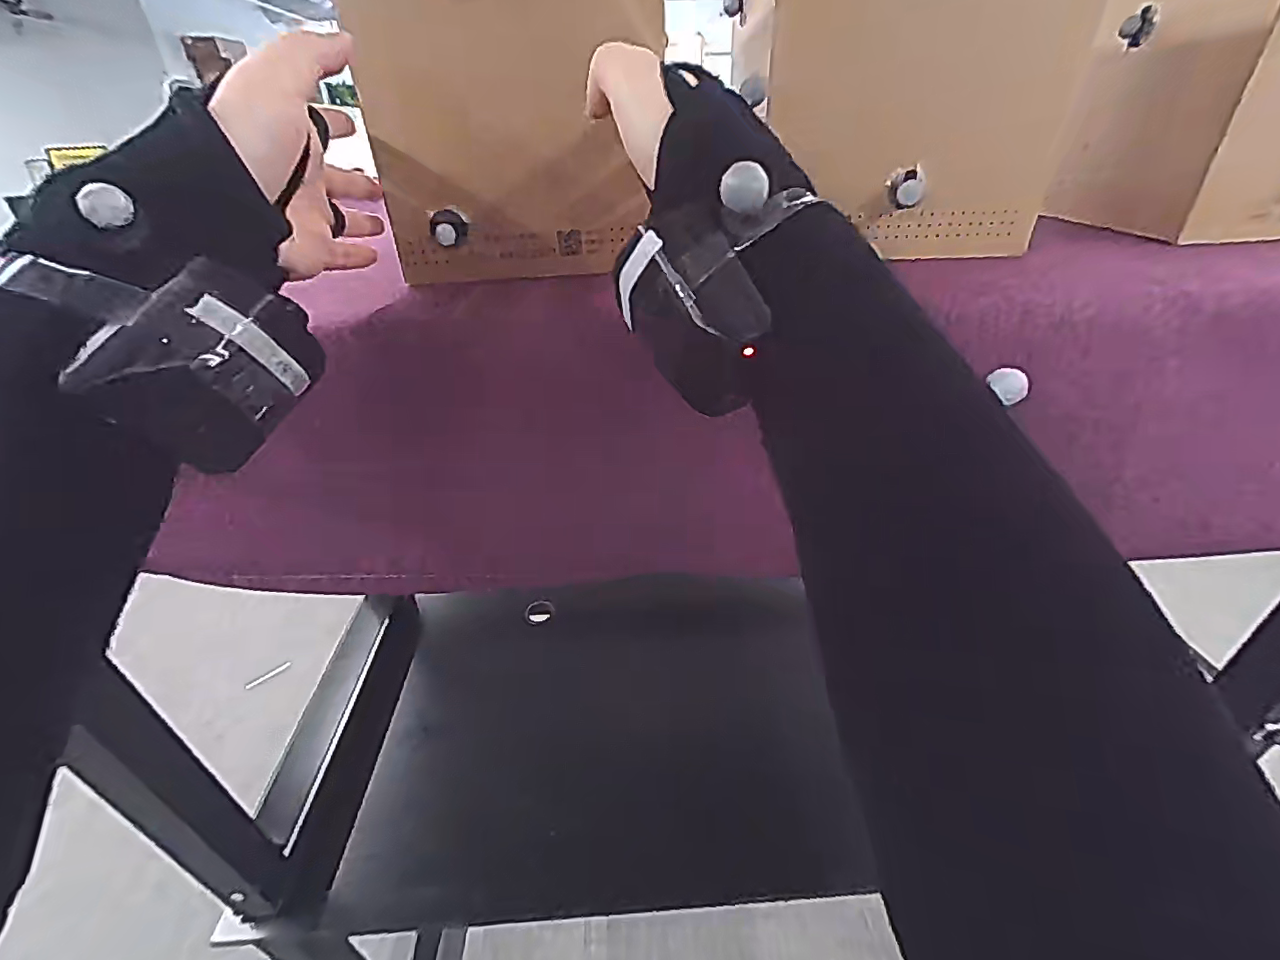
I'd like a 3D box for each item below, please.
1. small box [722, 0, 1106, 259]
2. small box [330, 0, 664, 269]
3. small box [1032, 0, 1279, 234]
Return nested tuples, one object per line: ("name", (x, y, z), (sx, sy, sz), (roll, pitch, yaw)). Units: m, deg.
("small box", (0.157, -0.254, 0.366), (0.179, 0.176, 0.168), (-1, 32, 1))
("small box", (-0.076, -0.243, 0.362), (0.168, 0.176, 0.179), (-5, 32, -5))
("small box", (0.425, -0.273, 0.377), (0.168, 0.176, 0.179), (-2, 33, 1))
